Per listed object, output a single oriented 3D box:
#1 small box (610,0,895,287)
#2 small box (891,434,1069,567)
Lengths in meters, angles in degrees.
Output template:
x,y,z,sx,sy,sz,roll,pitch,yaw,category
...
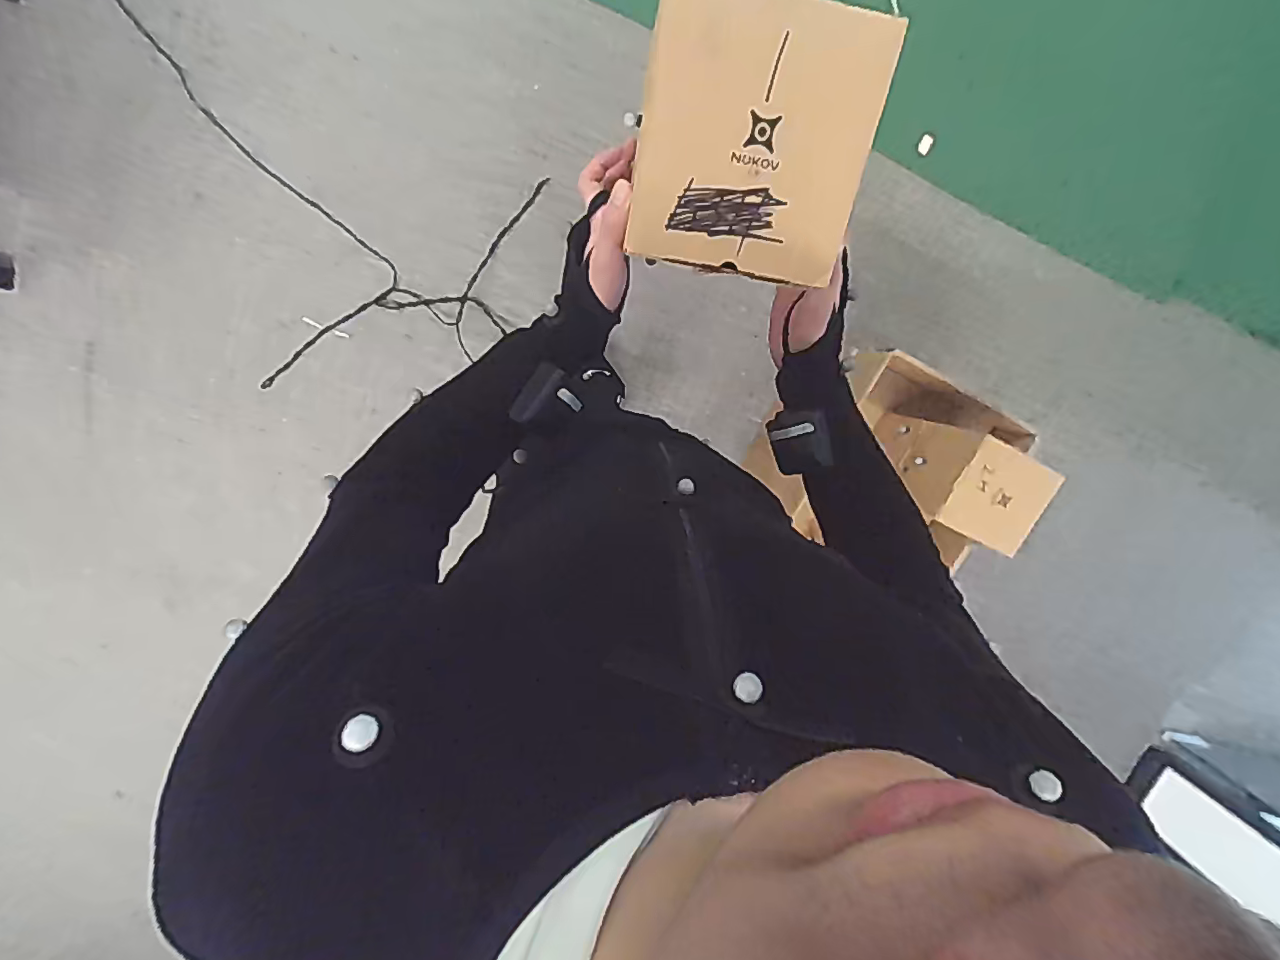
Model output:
x,y,z,sx,sy,sz,roll,pitch,yaw,category
0.070,-0.273,0.448,0.168,0.176,0.179,8,115,-6,small box
0.607,0.027,0.987,0.179,0.176,0.168,26,100,-10,small box
